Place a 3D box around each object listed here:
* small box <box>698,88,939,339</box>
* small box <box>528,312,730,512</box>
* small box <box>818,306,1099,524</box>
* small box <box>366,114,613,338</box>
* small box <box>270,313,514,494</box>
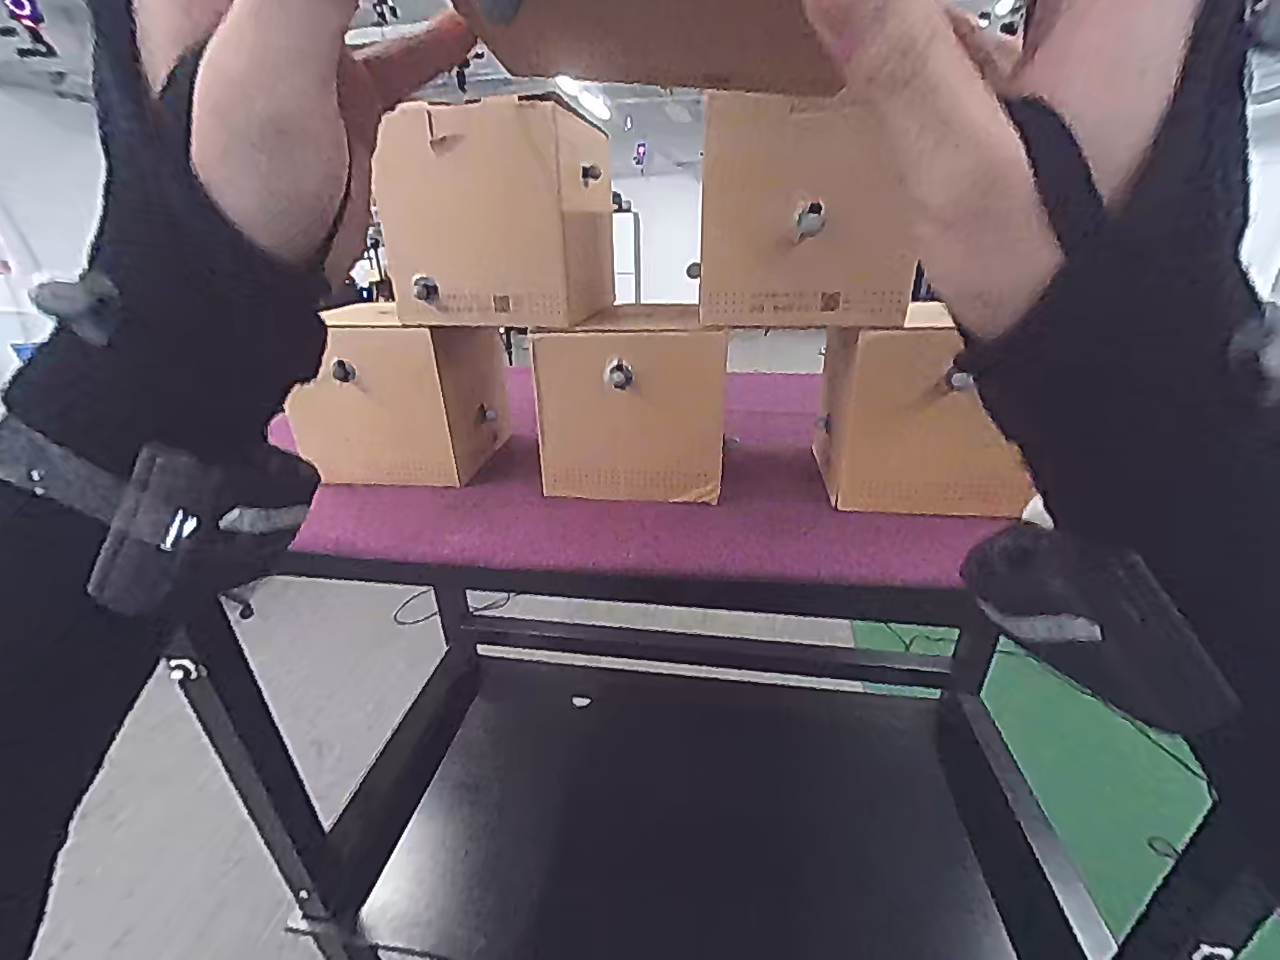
[{"bbox_3d":[0.140,-0.224,0.483,0.168,0.176,0.179,2,25,9],"label":"small box"},{"bbox_3d":[0.002,-0.076,0.564,0.179,0.176,0.168,3,25,9],"label":"small box"},{"bbox_3d":[0.278,-0.068,0.522,0.179,0.176,0.168,1,24,10],"label":"small box"},{"bbox_3d":[-0.124,-0.237,0.528,0.168,0.176,0.179,4,25,11],"label":"small box"},{"bbox_3d":[-0.261,-0.092,0.615,0.179,0.176,0.168,1,26,8],"label":"small box"}]
